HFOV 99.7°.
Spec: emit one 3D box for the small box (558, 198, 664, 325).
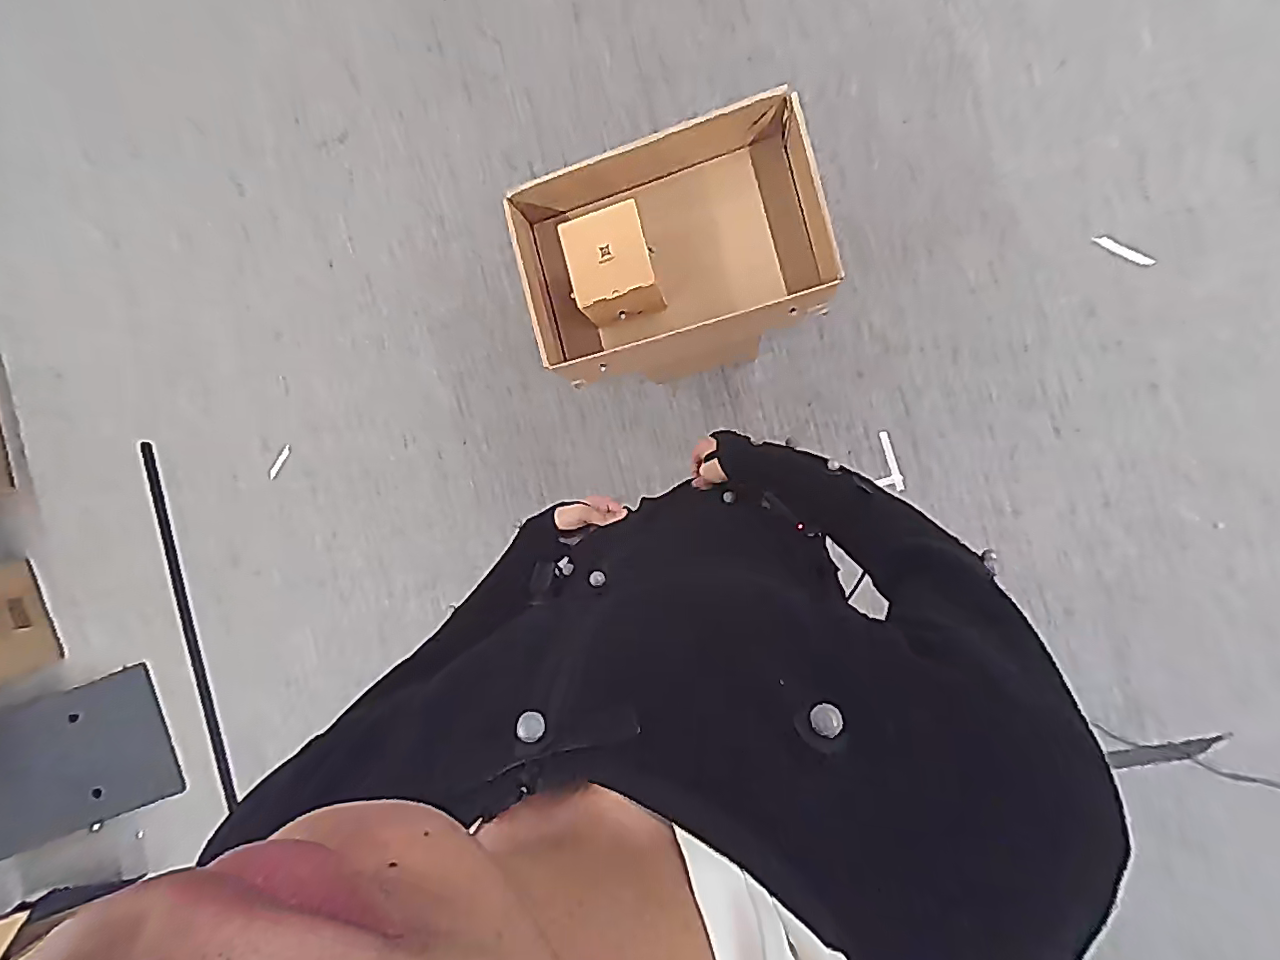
[{"bbox_3d":[-0.055,-0.455,1.151,0.168,0.176,0.179,-15,89,10],"label":"small box"}]
